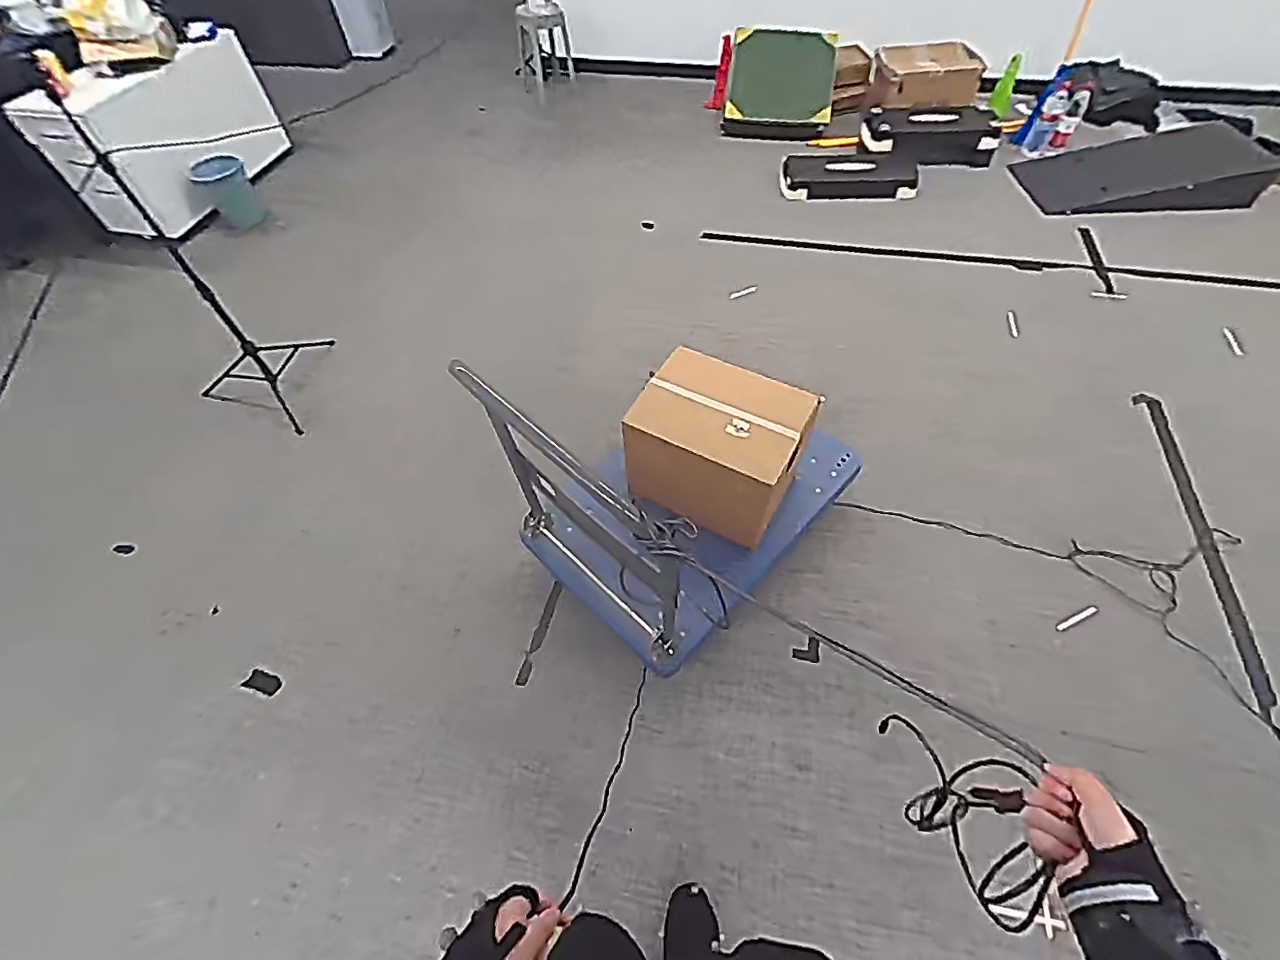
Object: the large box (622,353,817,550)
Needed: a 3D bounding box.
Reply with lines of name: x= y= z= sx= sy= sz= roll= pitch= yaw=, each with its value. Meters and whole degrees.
large box: x=0.200 y=-0.077 z=1.454 sx=0.408 sy=0.320 sz=0.320 roll=24 pitch=60 yaw=18
